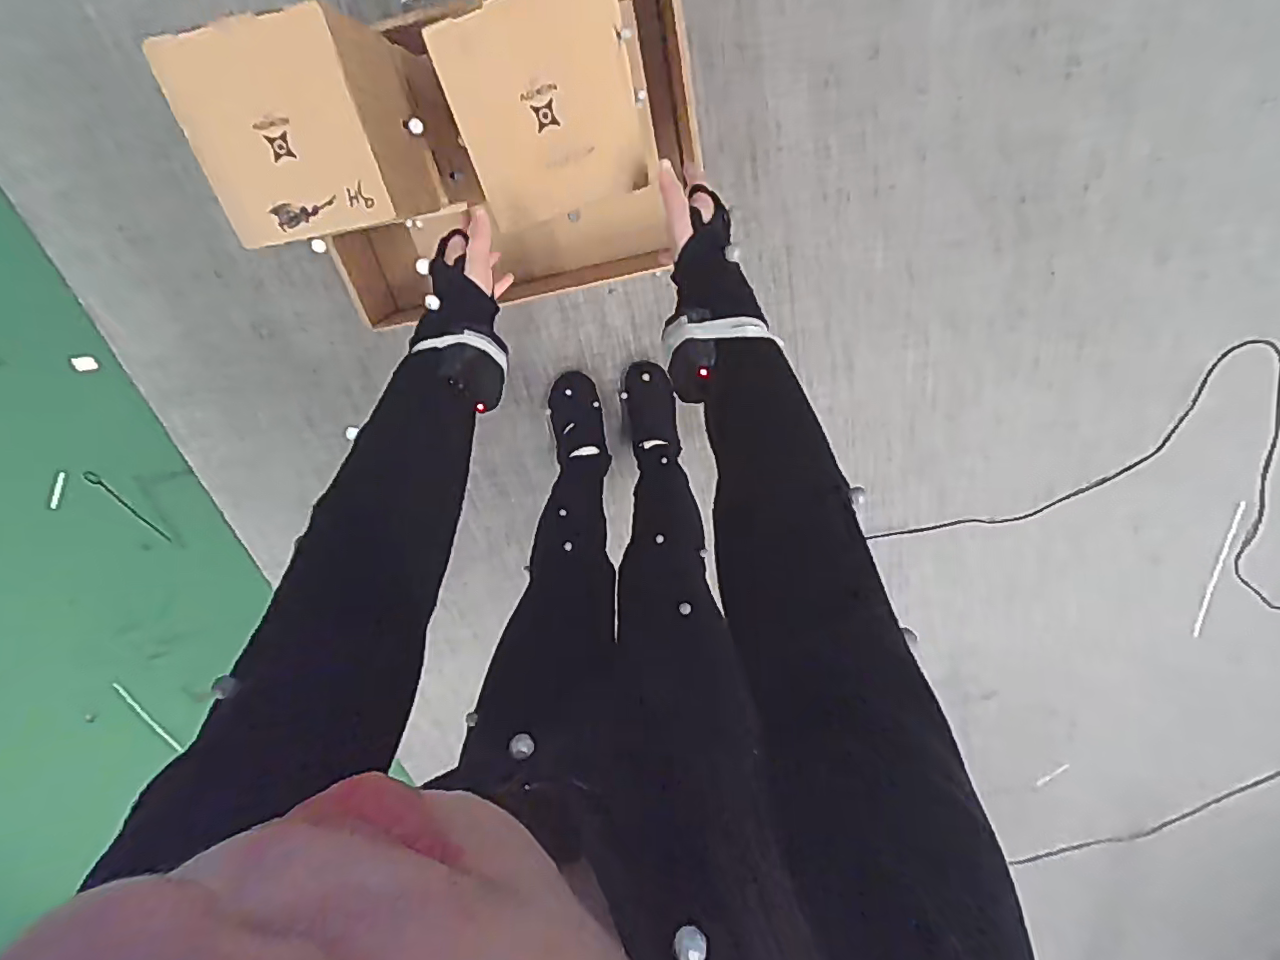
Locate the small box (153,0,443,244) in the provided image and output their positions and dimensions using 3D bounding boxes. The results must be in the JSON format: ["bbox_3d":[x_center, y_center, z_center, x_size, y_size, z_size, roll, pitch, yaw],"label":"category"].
[{"bbox_3d":[-0.336,-0.364,0.577,0.168,0.176,0.179,-8,119,4],"label":"small box"}]

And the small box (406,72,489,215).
[{"bbox_3d":[-0.355,-0.524,0.864,0.168,0.176,0.179,-8,120,2],"label":"small box"}]

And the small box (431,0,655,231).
[{"bbox_3d":[-0.086,-0.385,0.571,0.168,0.176,0.179,-13,121,8],"label":"small box"}]
